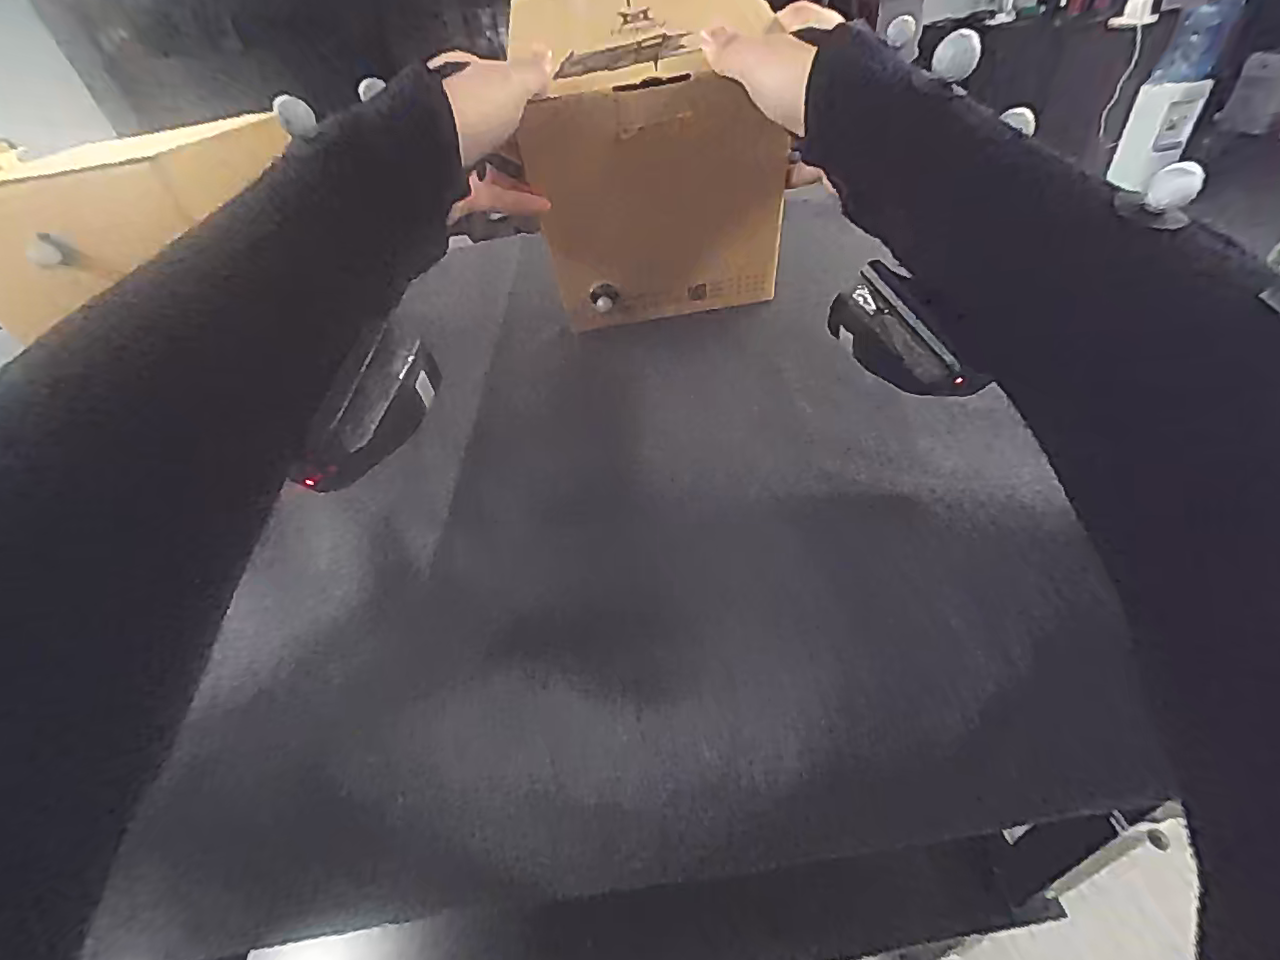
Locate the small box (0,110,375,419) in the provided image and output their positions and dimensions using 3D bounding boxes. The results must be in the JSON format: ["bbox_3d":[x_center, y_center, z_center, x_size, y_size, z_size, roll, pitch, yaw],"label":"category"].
[{"bbox_3d":[-0.346,-0.168,0.429,0.179,0.176,0.168,-7,41,3],"label":"small box"}]

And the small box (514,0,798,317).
[{"bbox_3d":[0.011,-0.243,0.412,0.168,0.176,0.179,-8,56,2],"label":"small box"}]
